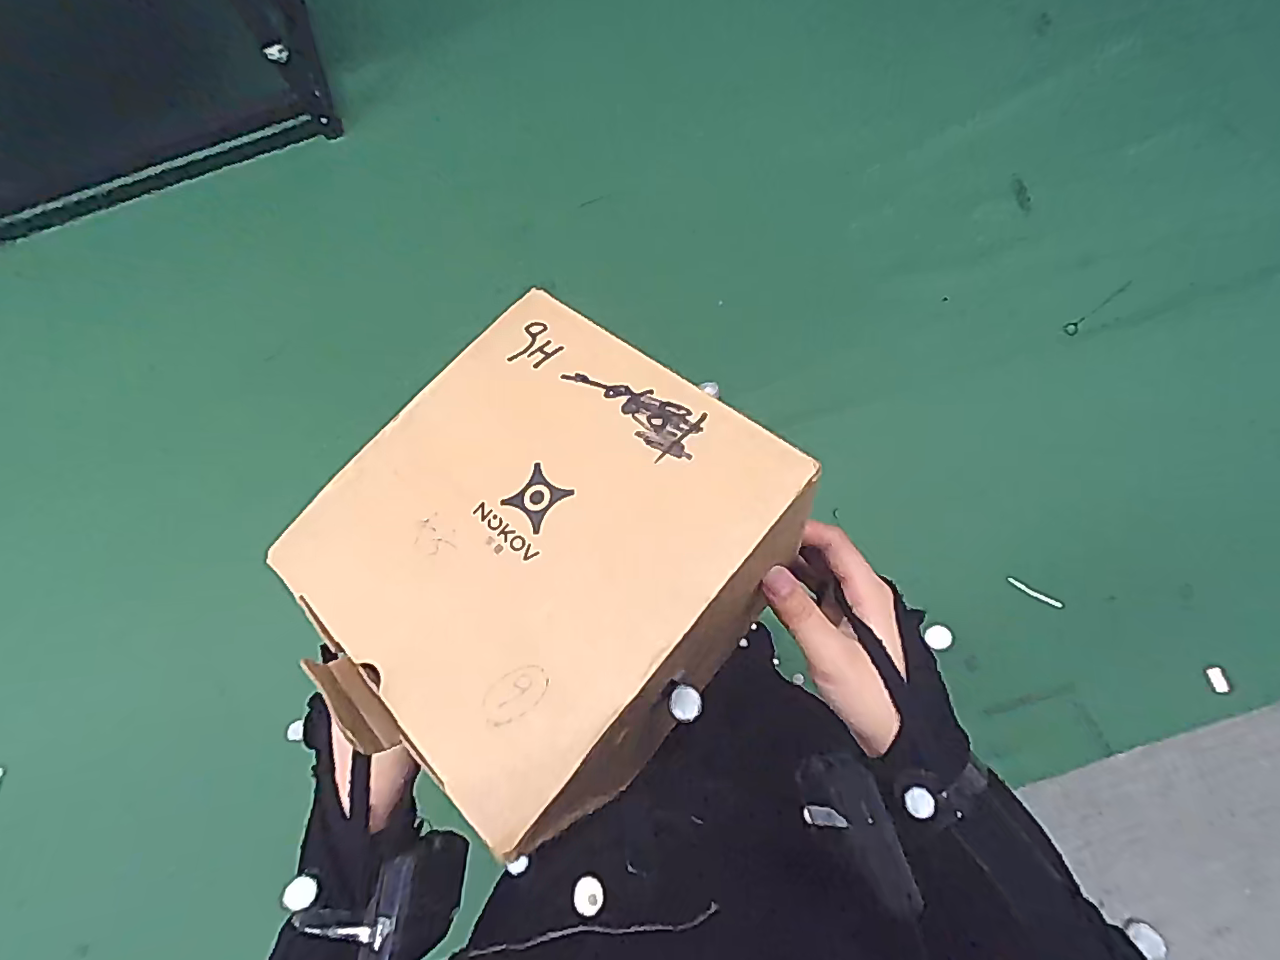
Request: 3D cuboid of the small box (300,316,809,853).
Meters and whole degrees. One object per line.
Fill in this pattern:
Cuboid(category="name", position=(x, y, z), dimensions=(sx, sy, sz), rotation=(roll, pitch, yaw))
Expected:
Cuboid(category="small box", position=(-0.028, 0.054, 0.303), dimensions=(0.168, 0.176, 0.179), rotation=(36, 79, 23))
